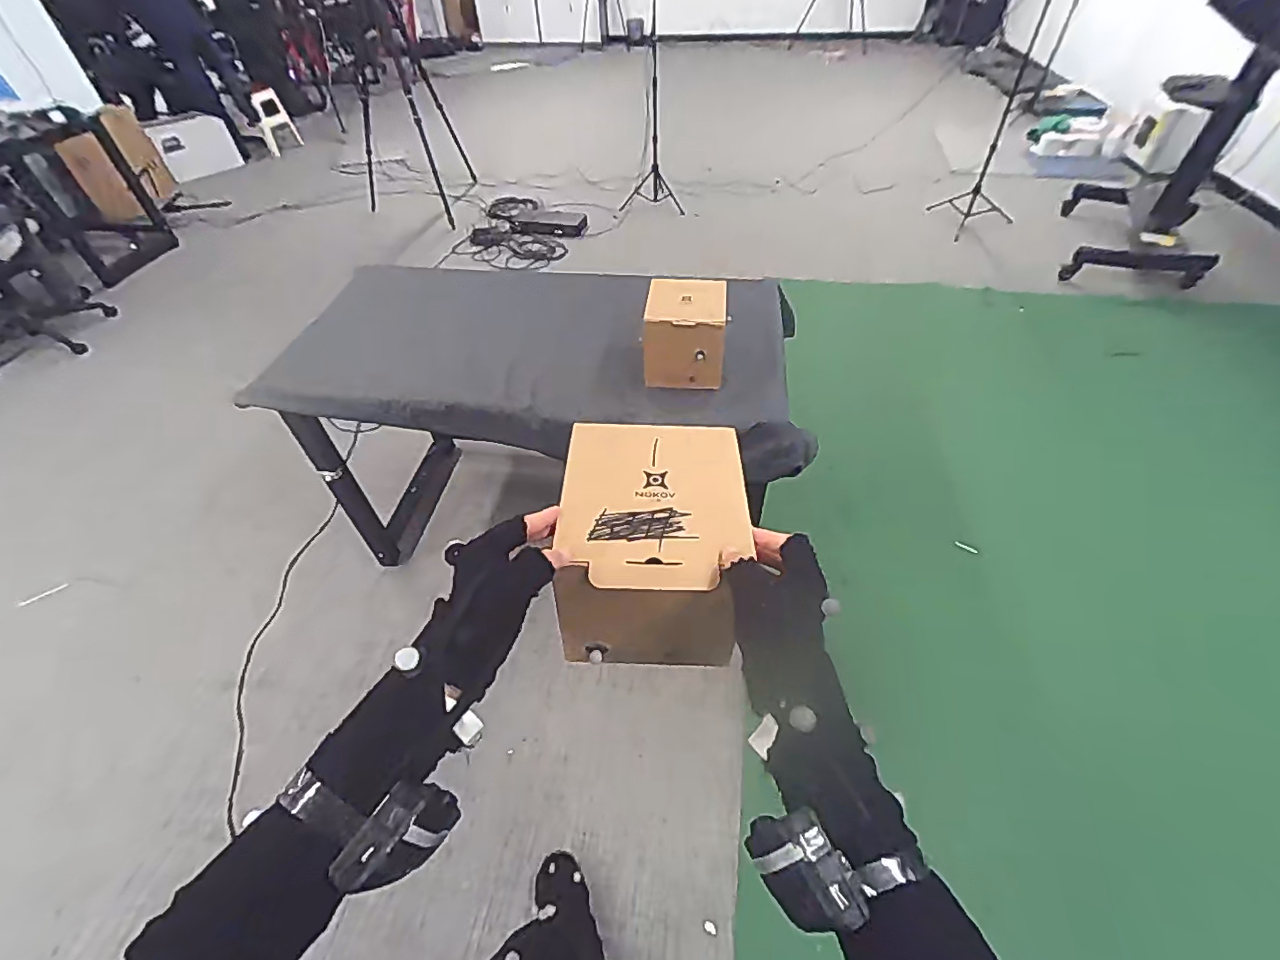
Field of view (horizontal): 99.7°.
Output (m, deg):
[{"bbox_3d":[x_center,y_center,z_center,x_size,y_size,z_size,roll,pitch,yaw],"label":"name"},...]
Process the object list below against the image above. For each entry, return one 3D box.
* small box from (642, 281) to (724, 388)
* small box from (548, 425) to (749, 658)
[{"bbox_3d":[0.097,-0.317,1.184,0.168,0.176,0.179,3,46,5],"label":"small box"},{"bbox_3d":[0.009,0.063,0.545,0.168,0.176,0.179,1,44,0],"label":"small box"}]
